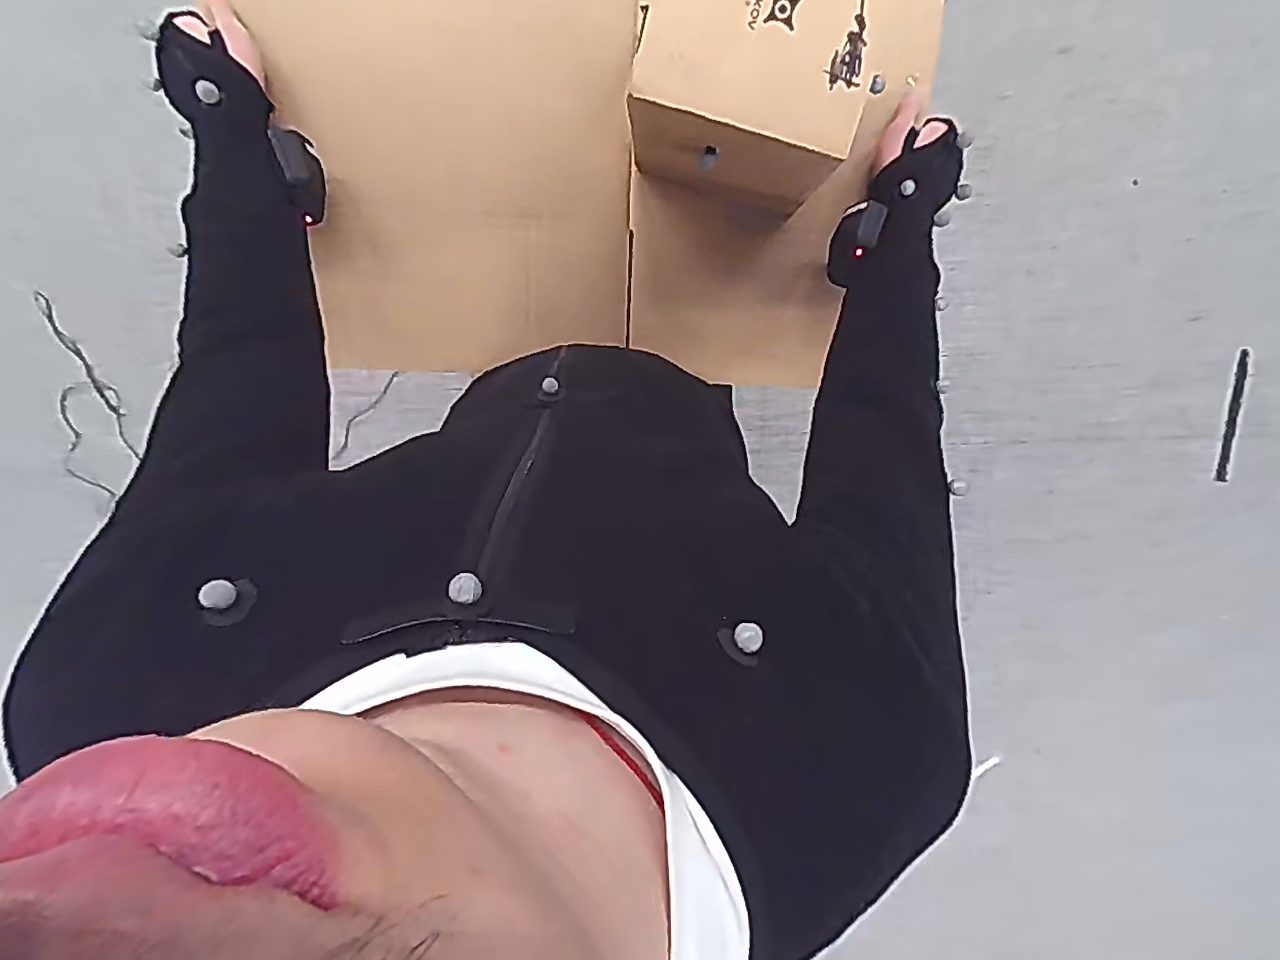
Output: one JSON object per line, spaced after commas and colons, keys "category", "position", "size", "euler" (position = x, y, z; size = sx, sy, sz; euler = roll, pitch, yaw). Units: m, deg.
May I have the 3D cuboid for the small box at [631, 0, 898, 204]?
{"category": "small box", "position": [0.102, -0.365, 0.473], "size": [0.179, 0.176, 0.168], "euler": [16, 104, -1]}
